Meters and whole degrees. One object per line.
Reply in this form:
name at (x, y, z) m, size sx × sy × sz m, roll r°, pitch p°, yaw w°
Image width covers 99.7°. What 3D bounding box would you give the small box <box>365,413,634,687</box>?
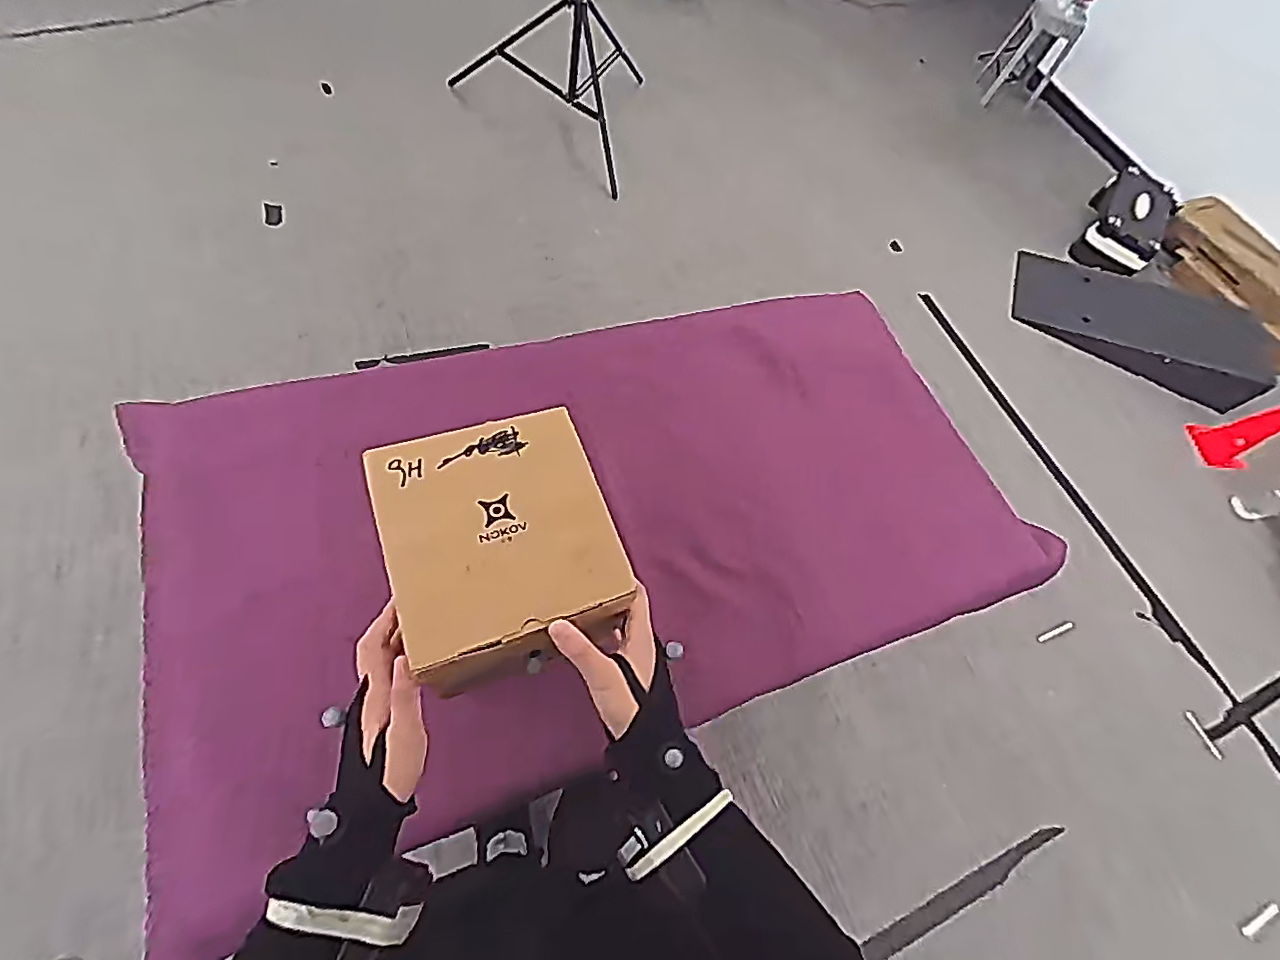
small box at (-0.121, 0.071, 0.480) m, size 0.168 × 0.176 × 0.179 m, roll -16°, pitch 68°, yaw -19°
